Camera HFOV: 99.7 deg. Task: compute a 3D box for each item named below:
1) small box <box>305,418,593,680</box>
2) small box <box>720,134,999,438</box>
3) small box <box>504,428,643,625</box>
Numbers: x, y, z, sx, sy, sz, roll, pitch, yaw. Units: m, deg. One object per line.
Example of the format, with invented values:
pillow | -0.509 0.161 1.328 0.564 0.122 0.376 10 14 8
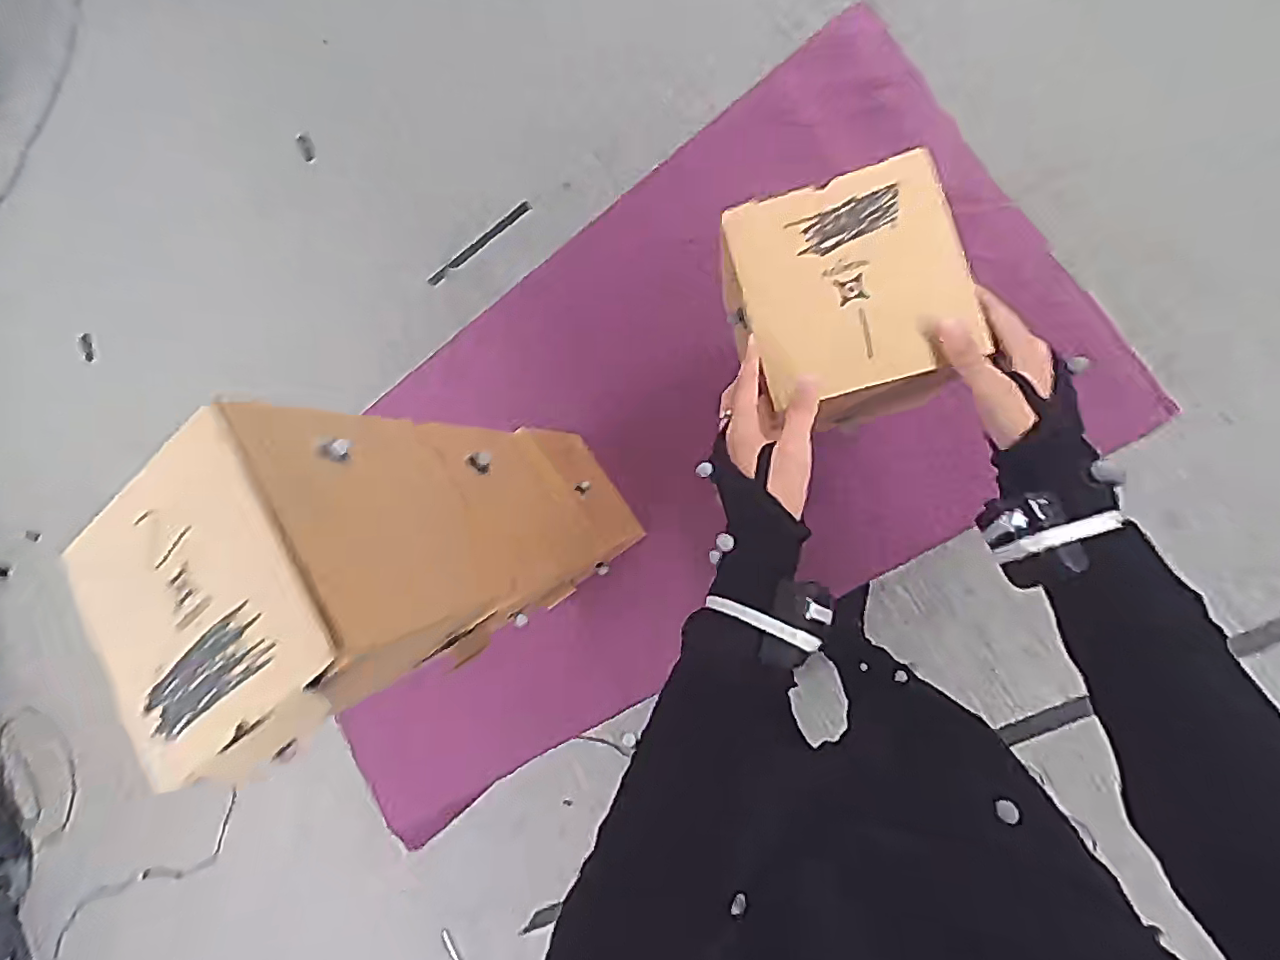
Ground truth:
small box | -0.177 0.061 0.542 0.168 0.176 0.179 -34 82 15
small box | 0.170 -0.150 0.482 0.168 0.176 0.179 -15 84 9
small box | -0.120 0.052 0.697 0.168 0.176 0.179 -37 81 14
